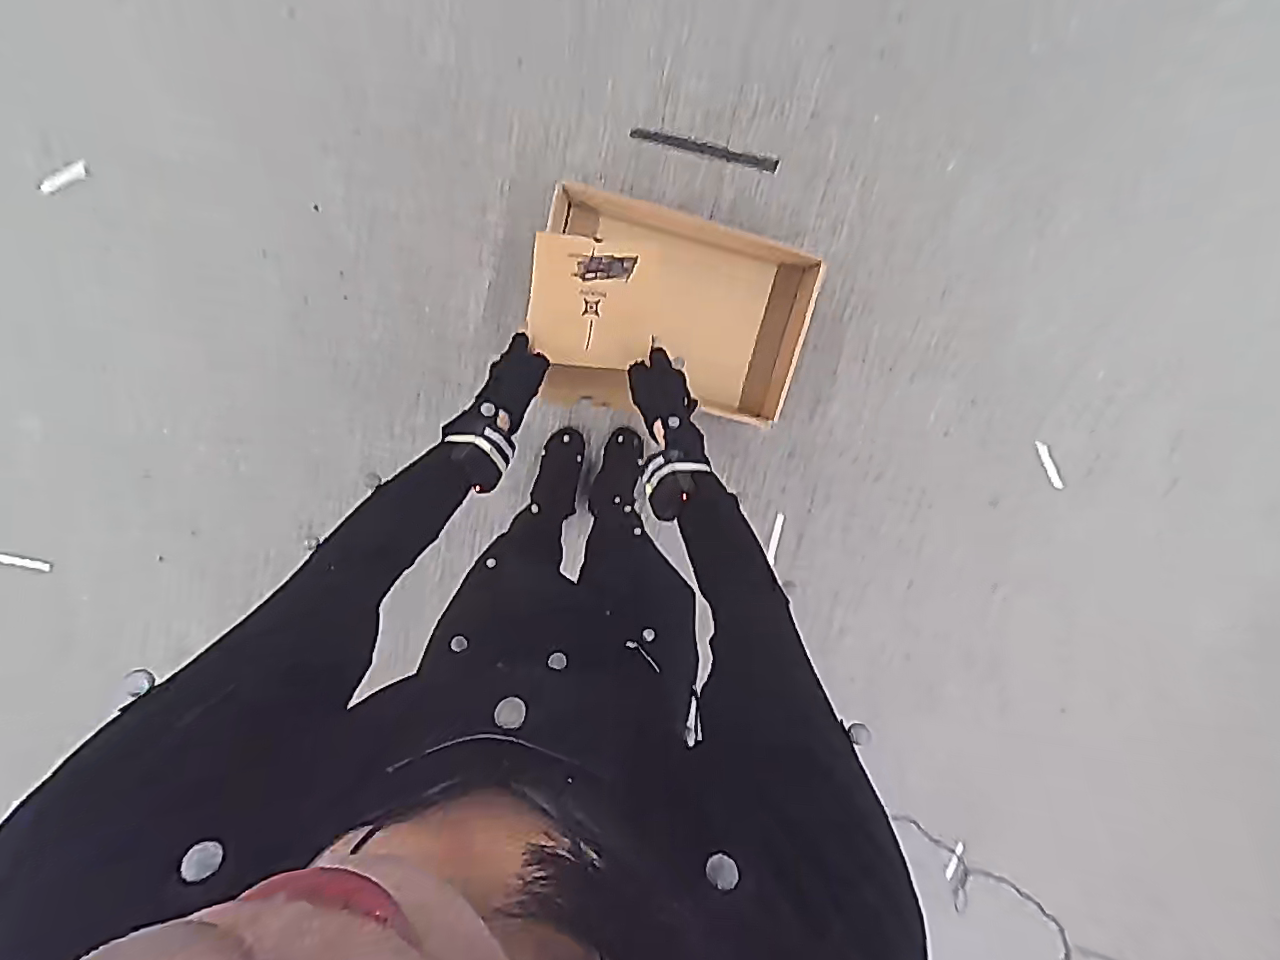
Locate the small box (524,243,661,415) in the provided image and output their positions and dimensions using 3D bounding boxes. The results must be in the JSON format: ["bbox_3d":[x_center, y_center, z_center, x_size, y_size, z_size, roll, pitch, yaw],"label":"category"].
[{"bbox_3d":[-0.064,-0.211,0.789,0.168,0.176,0.179,5,79,-1],"label":"small box"}]
